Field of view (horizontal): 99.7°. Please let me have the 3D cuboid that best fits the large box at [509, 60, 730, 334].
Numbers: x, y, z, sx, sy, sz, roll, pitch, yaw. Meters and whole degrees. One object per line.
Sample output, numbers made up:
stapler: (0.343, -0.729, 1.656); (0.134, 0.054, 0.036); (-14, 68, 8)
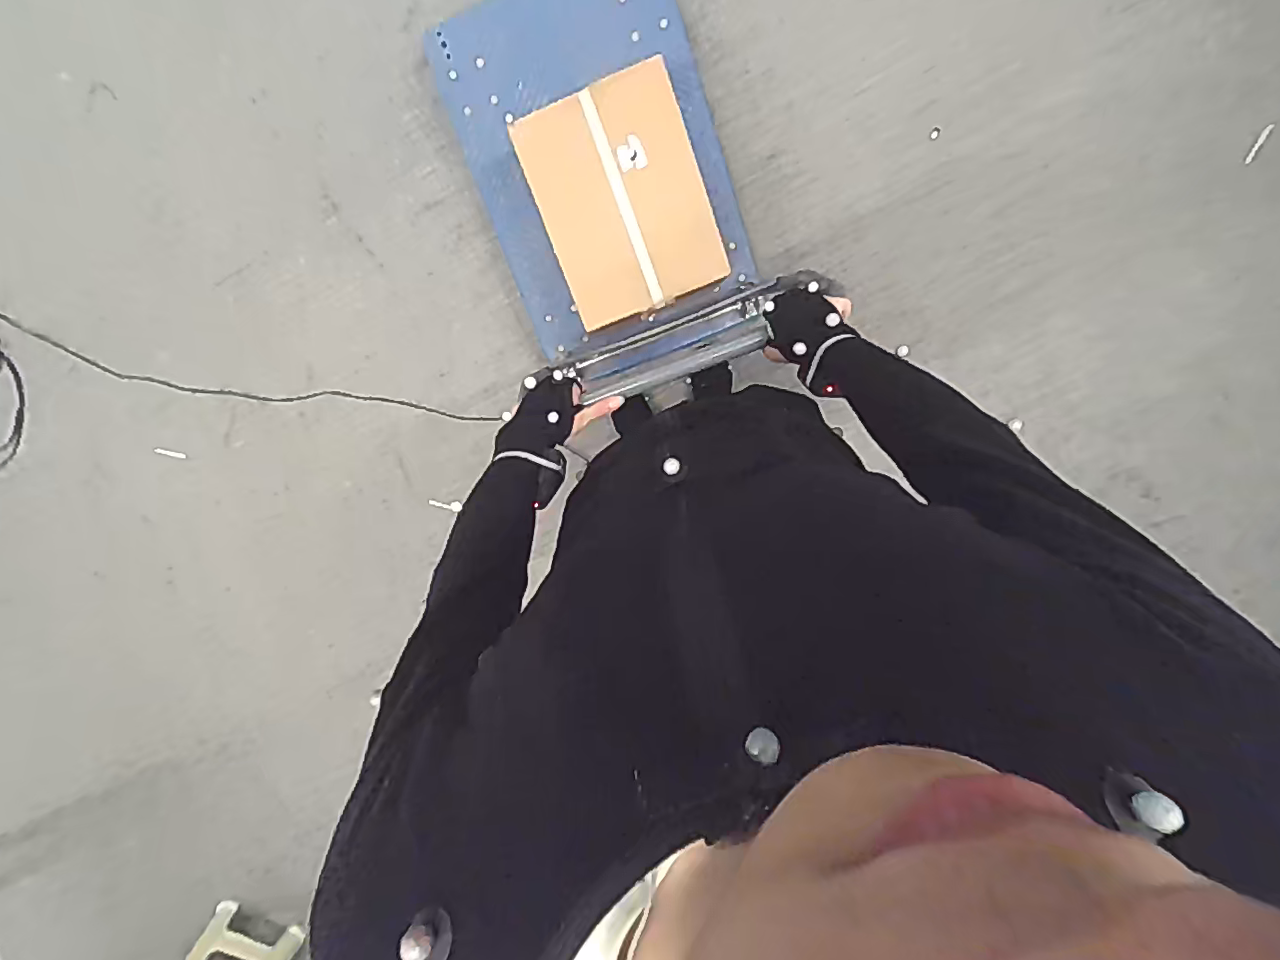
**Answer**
large box: (-0.028, -0.569, 1.183); (0.320, 0.320, 0.408); (-20, 102, 6)
